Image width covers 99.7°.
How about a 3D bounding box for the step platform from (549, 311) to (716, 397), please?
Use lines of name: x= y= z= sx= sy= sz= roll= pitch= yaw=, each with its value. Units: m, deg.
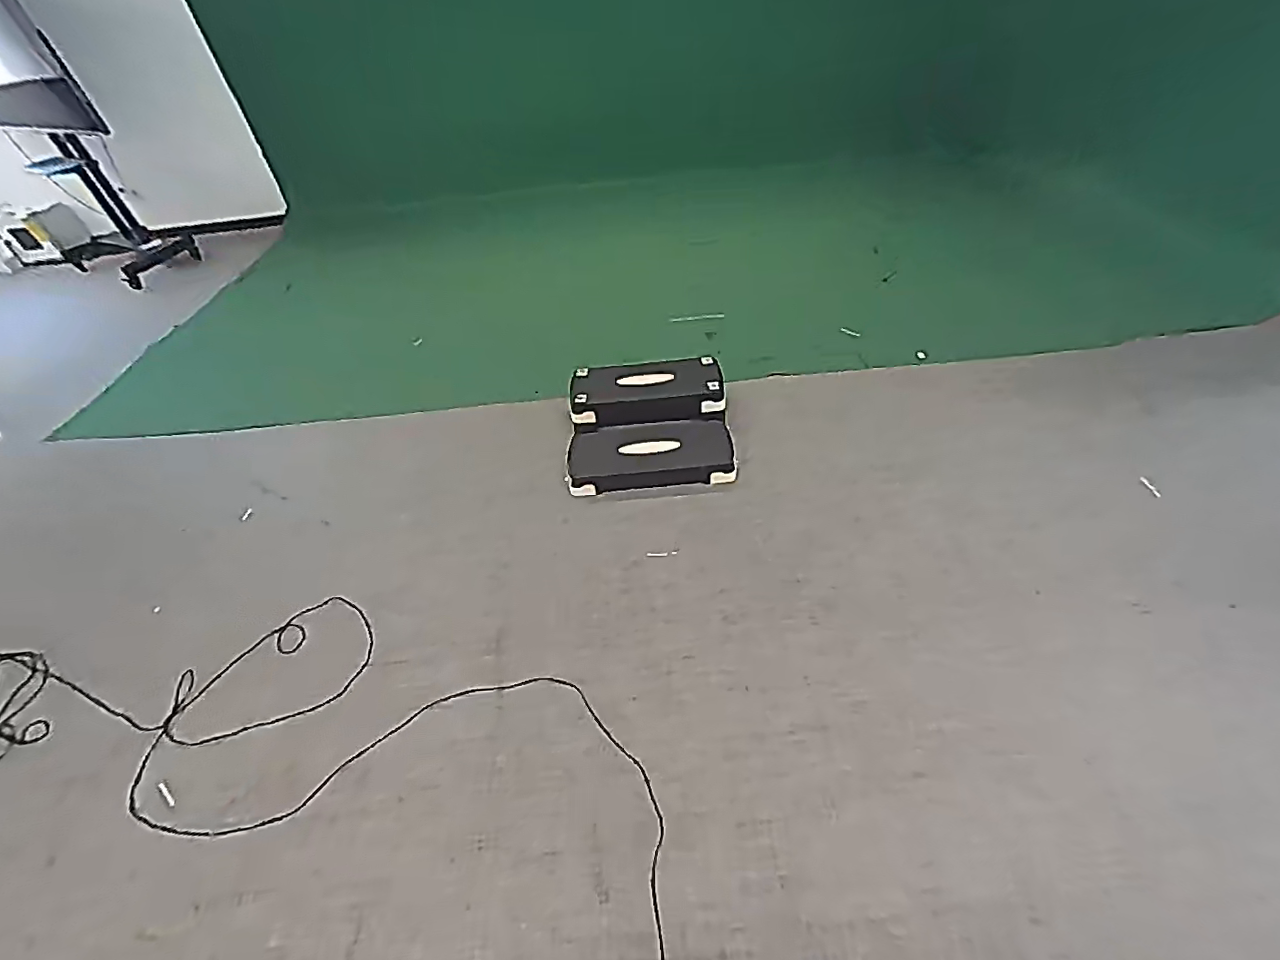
step platform: x=-0.025 y=-0.531 z=2.279 sx=0.684 sy=0.204 sz=0.286 roll=-6 pitch=45 yaw=2
